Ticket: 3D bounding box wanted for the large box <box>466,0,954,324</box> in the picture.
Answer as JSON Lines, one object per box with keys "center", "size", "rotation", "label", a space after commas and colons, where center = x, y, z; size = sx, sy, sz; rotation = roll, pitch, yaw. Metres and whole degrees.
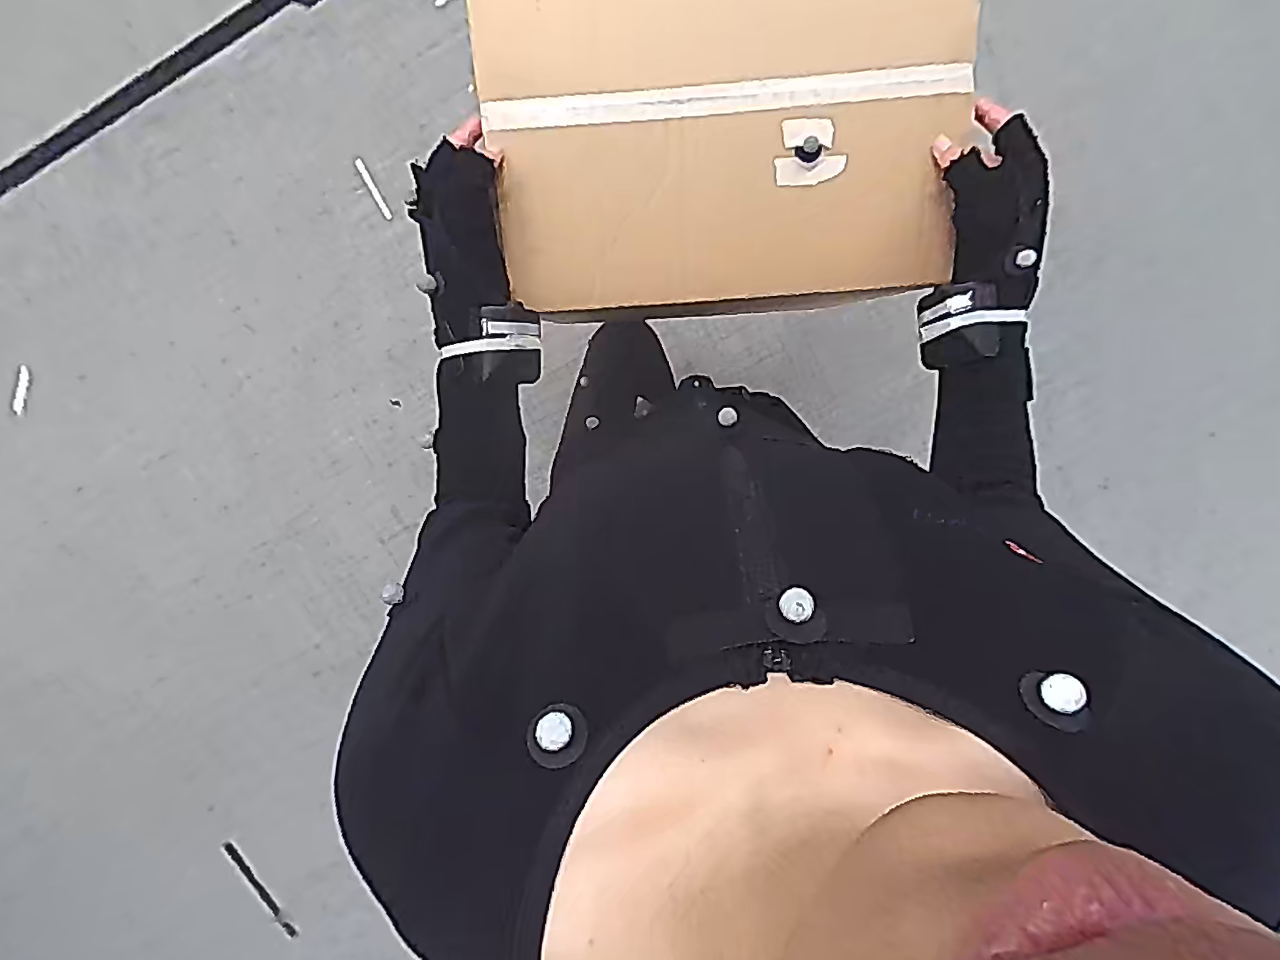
{"center": [0.061, -0.360, 0.603], "size": [0.408, 0.320, 0.320], "rotation": [-5, 104, 1], "label": "large box"}
